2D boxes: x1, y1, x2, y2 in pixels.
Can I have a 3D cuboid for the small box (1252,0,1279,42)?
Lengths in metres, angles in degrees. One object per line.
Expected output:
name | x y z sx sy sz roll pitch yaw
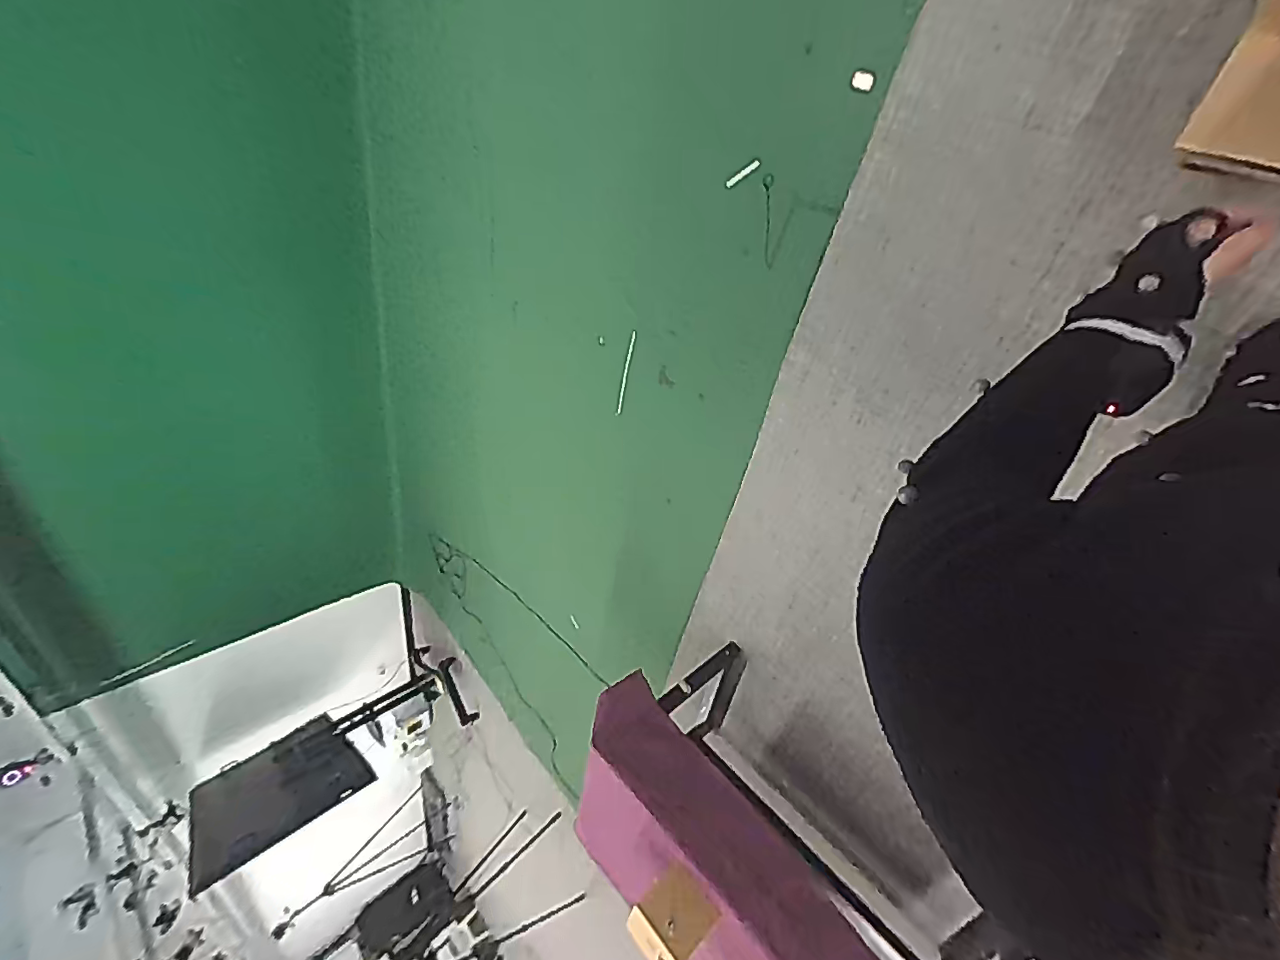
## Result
small box | 0.806 -0.572 0.558 0.179 0.176 0.168 38 129 33

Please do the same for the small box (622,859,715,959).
small box | 0.079 1.203 1.487 0.179 0.176 0.168 38 131 32
